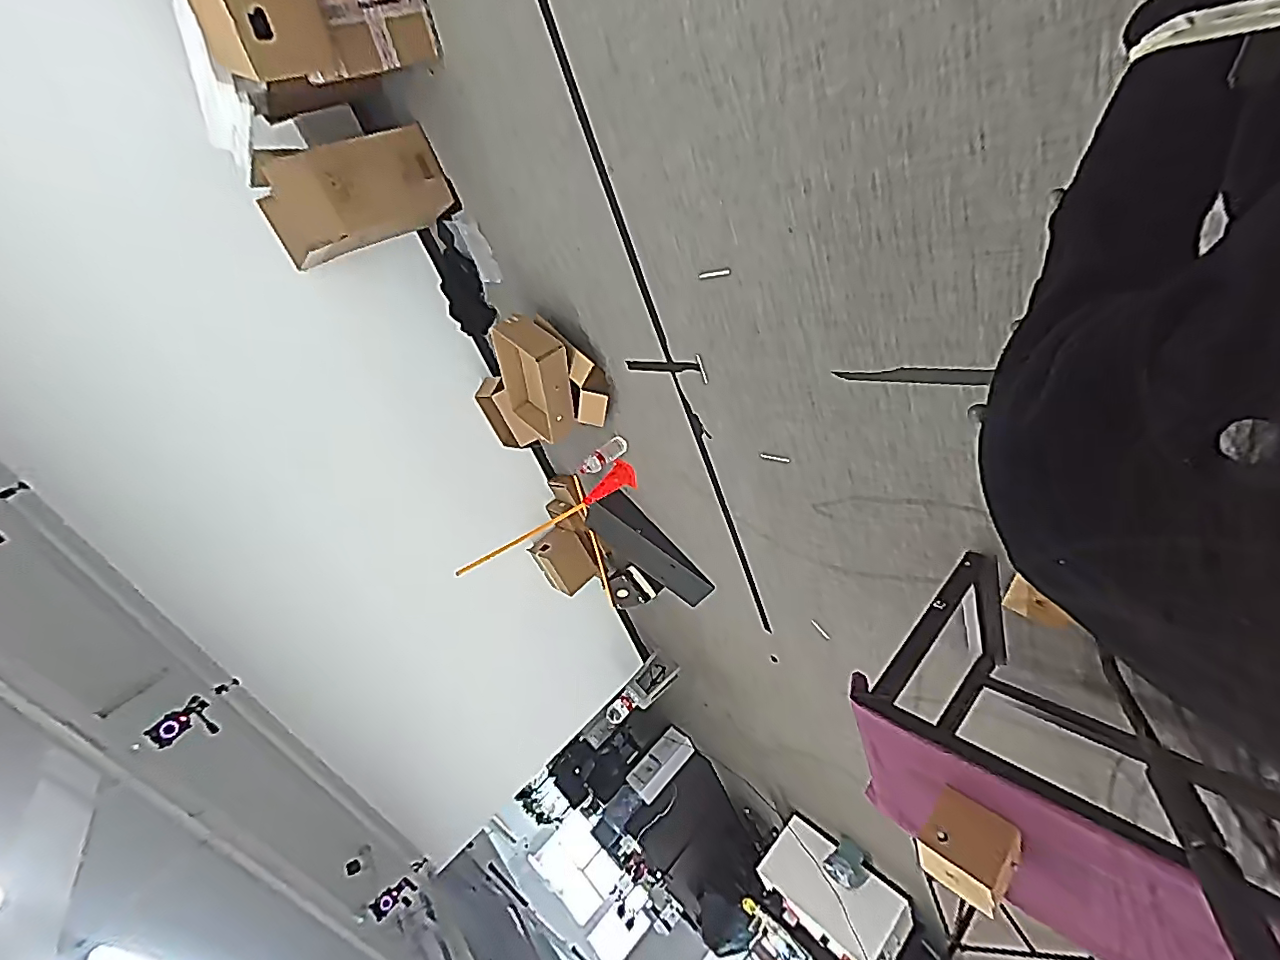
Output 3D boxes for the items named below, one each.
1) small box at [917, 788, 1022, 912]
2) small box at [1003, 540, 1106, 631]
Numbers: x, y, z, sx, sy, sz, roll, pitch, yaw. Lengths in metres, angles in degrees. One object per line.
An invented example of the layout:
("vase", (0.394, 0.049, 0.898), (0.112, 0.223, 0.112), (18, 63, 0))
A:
("small box", (0.833, 0.923, 1.371), (0.179, 0.176, 0.168), (17, 139, 49))
("small box", (1.232, 0.303, 1.609), (0.179, 0.176, 0.168), (29, 145, 36))
